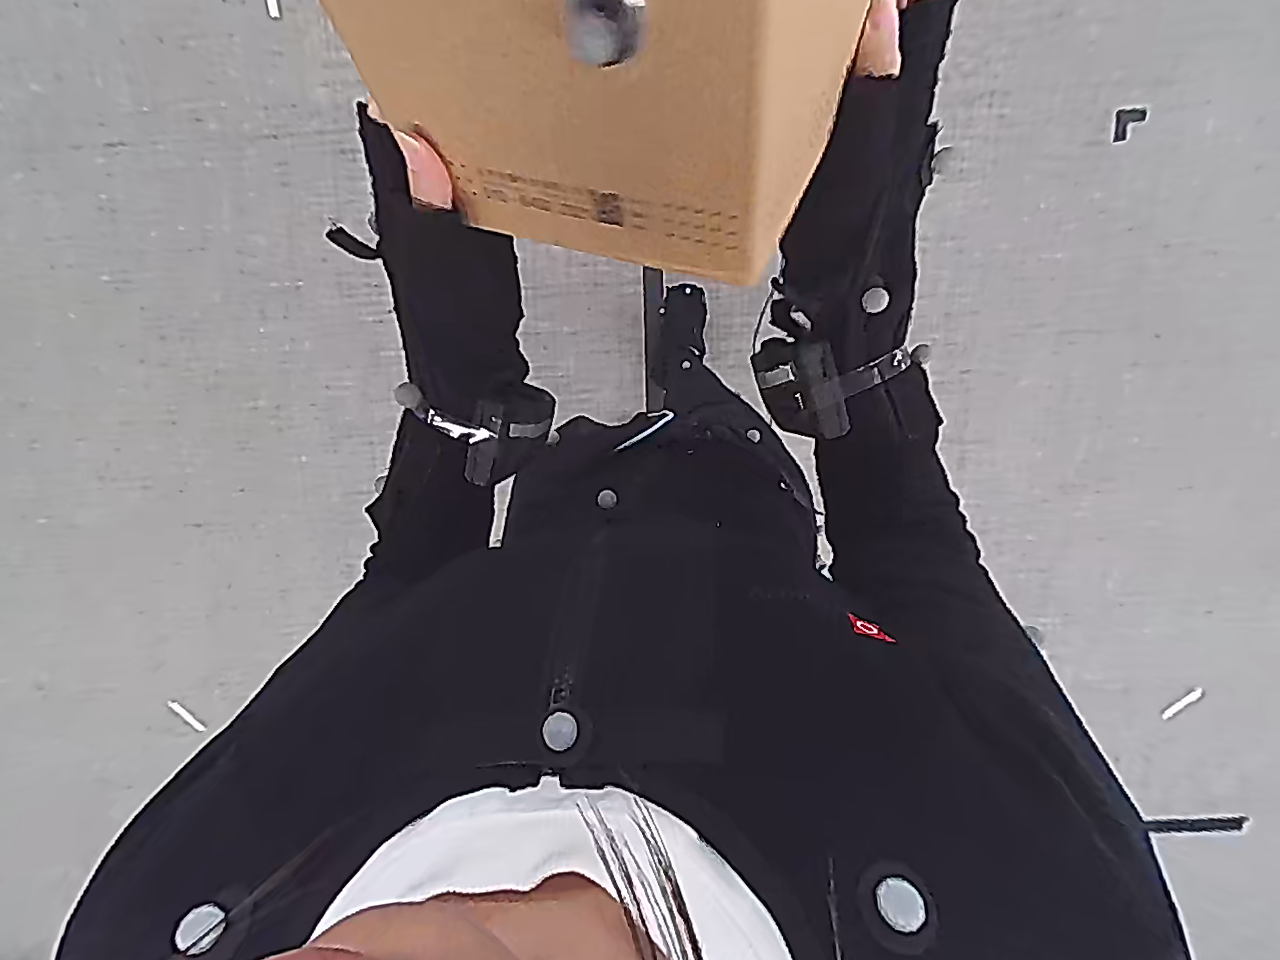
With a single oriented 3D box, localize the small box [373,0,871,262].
[{"bbox_3d":[0.004,-0.221,0.221,0.168,0.176,0.179,19,66,17],"label":"small box"}]
